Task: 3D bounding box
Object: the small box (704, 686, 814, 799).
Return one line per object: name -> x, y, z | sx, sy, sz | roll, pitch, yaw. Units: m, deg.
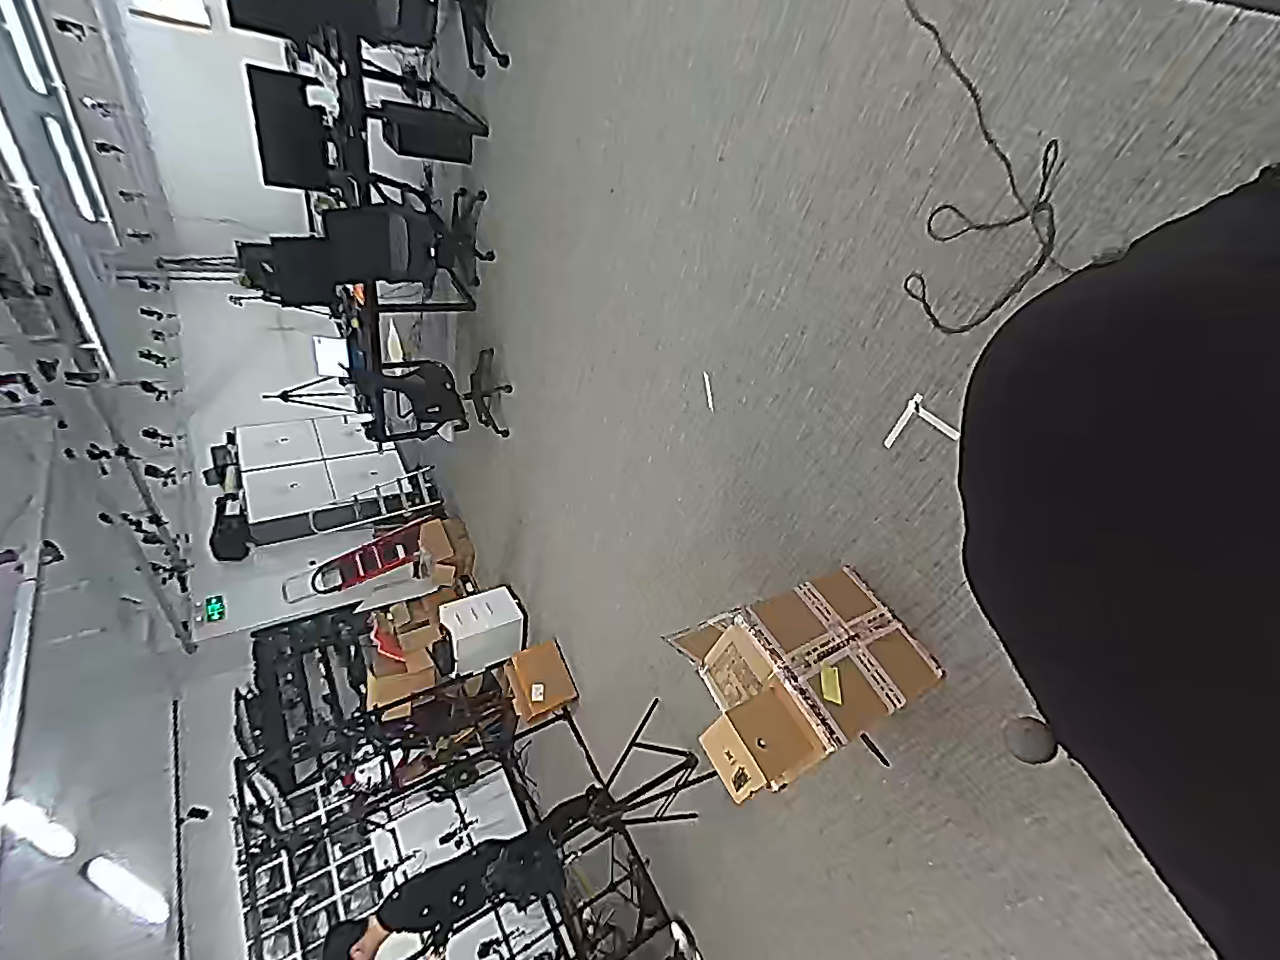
small box -> 0.297, 0.652, 1.355 | 0.179, 0.176, 0.168 | 55, 139, 31
